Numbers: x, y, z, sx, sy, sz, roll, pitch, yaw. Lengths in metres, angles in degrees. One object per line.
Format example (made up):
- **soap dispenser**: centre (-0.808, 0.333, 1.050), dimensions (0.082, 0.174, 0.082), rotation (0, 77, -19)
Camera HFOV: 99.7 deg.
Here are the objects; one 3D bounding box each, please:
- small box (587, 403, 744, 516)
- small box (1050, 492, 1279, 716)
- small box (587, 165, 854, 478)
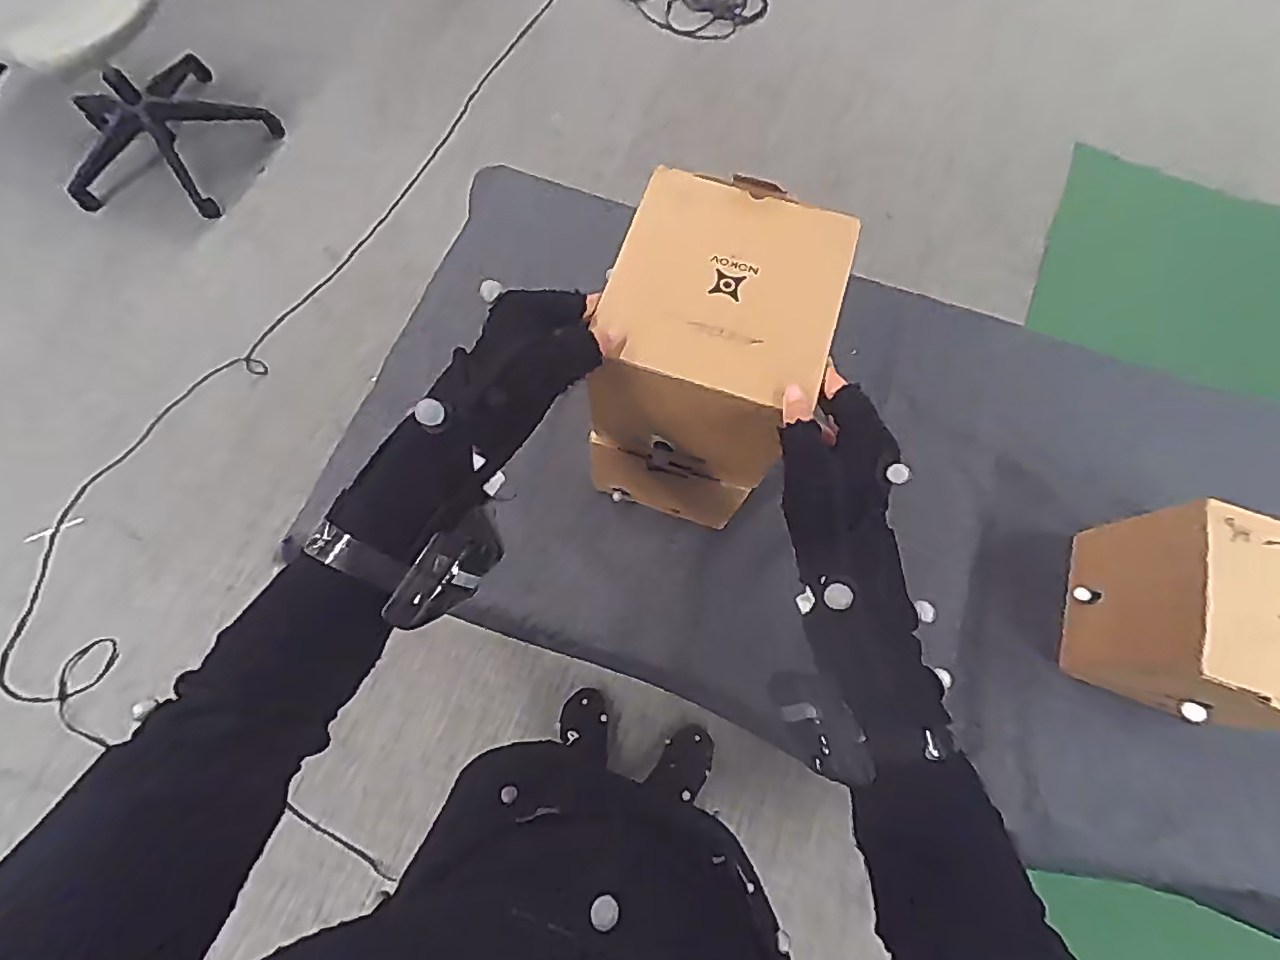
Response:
- **small box**: centre (0.049, -0.074, 0.625), dimensions (0.168, 0.176, 0.179), rotation (18, 72, 3)
- **small box**: centre (0.585, 0.139, 0.578), dimensions (0.168, 0.176, 0.179), rotation (20, 73, 4)
- **small box**: centre (0.061, -0.123, 0.471), dimensions (0.168, 0.176, 0.179), rotation (17, 74, 4)
